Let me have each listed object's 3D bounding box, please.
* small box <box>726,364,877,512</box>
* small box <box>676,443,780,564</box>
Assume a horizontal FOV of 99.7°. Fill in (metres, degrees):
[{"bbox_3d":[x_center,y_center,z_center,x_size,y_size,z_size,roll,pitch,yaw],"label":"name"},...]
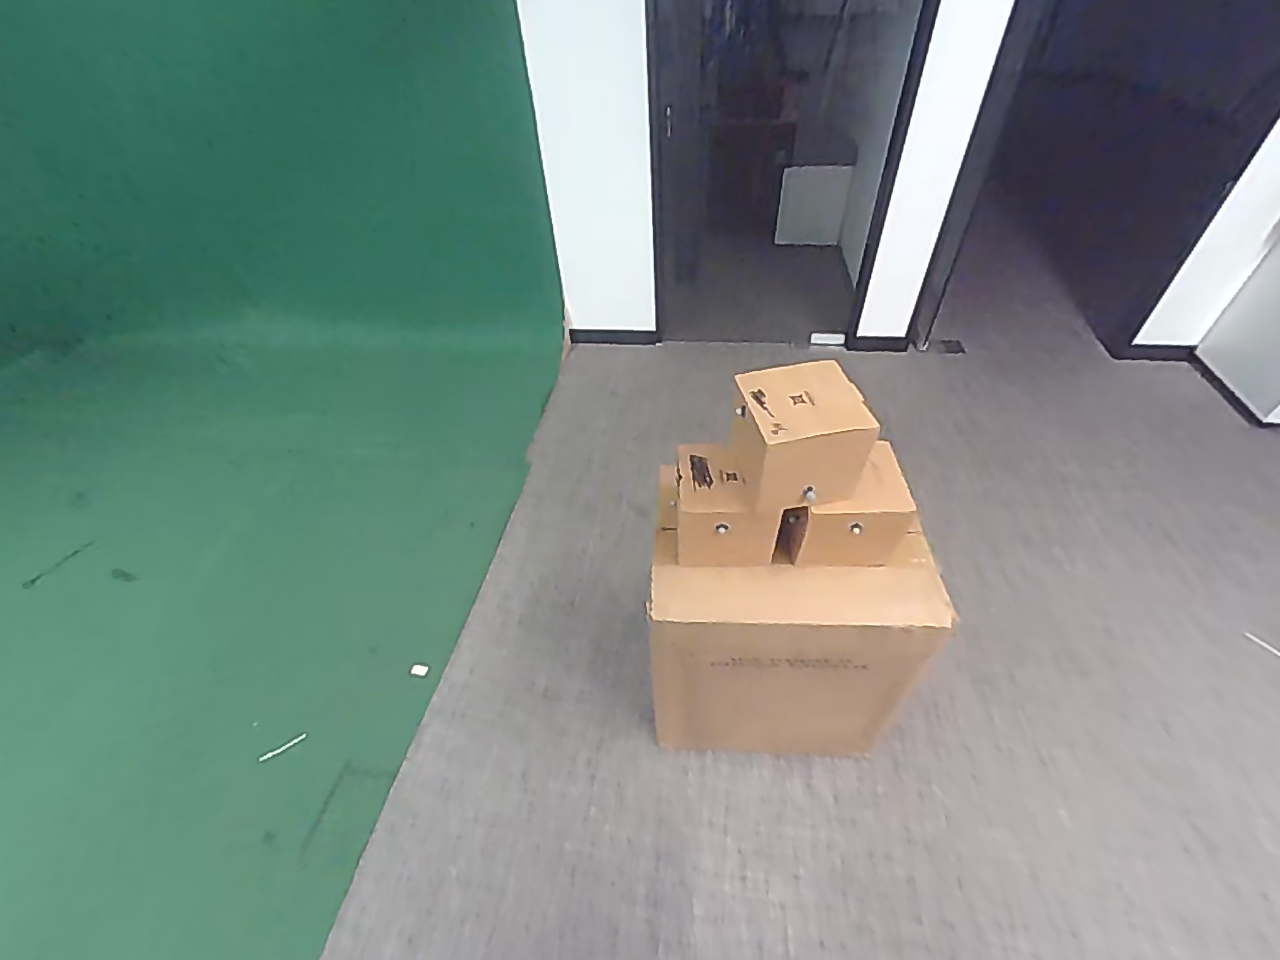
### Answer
[{"bbox_3d":[0.255,-0.068,0.900,0.179,0.176,0.168,-8,49,-6],"label":"small box"},{"bbox_3d":[0.157,0.047,1.022,0.179,0.176,0.168,0,49,3],"label":"small box"}]
